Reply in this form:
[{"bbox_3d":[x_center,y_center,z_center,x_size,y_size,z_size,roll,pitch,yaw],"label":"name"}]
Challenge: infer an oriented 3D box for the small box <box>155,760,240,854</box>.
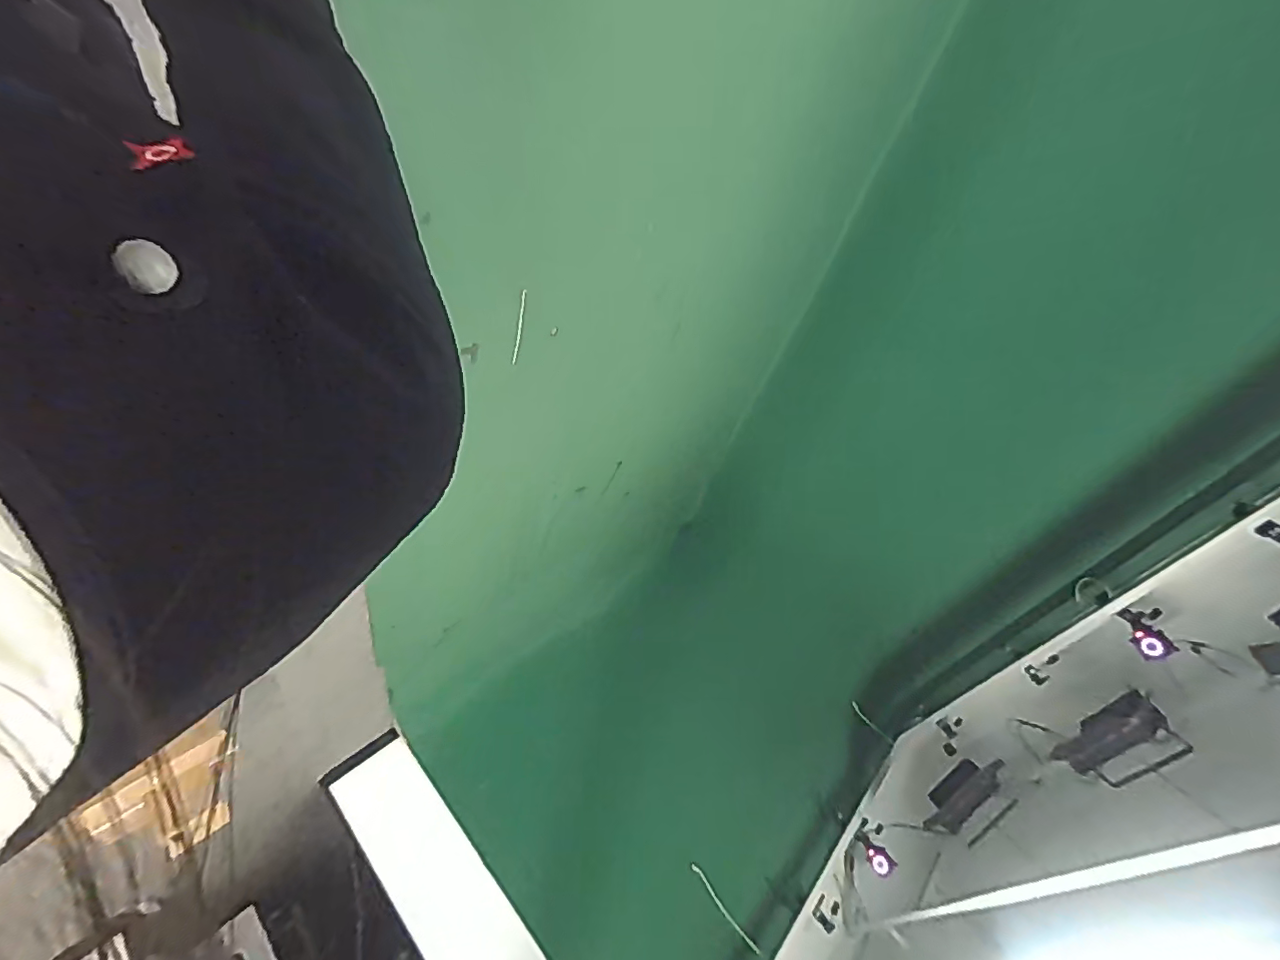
[{"bbox_3d":[-1.491,1.095,1.819,0.179,0.176,0.168,-25,145,-45],"label":"small box"}]
